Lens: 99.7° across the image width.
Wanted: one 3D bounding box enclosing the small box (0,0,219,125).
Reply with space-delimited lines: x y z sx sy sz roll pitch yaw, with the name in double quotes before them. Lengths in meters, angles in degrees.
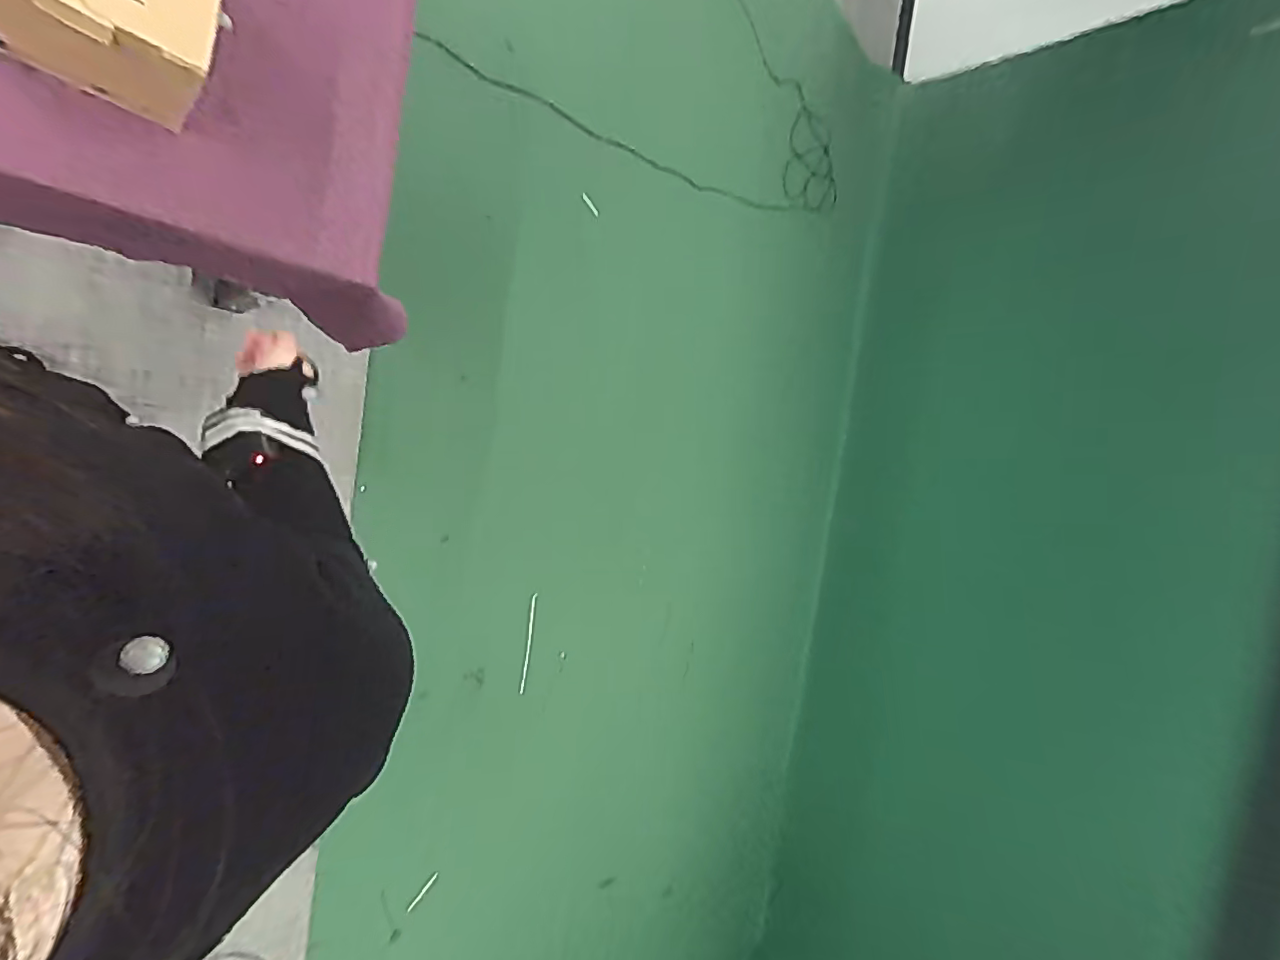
"small box" -0.476 -0.455 0.468 0.168 0.176 0.179 9 90 -48
